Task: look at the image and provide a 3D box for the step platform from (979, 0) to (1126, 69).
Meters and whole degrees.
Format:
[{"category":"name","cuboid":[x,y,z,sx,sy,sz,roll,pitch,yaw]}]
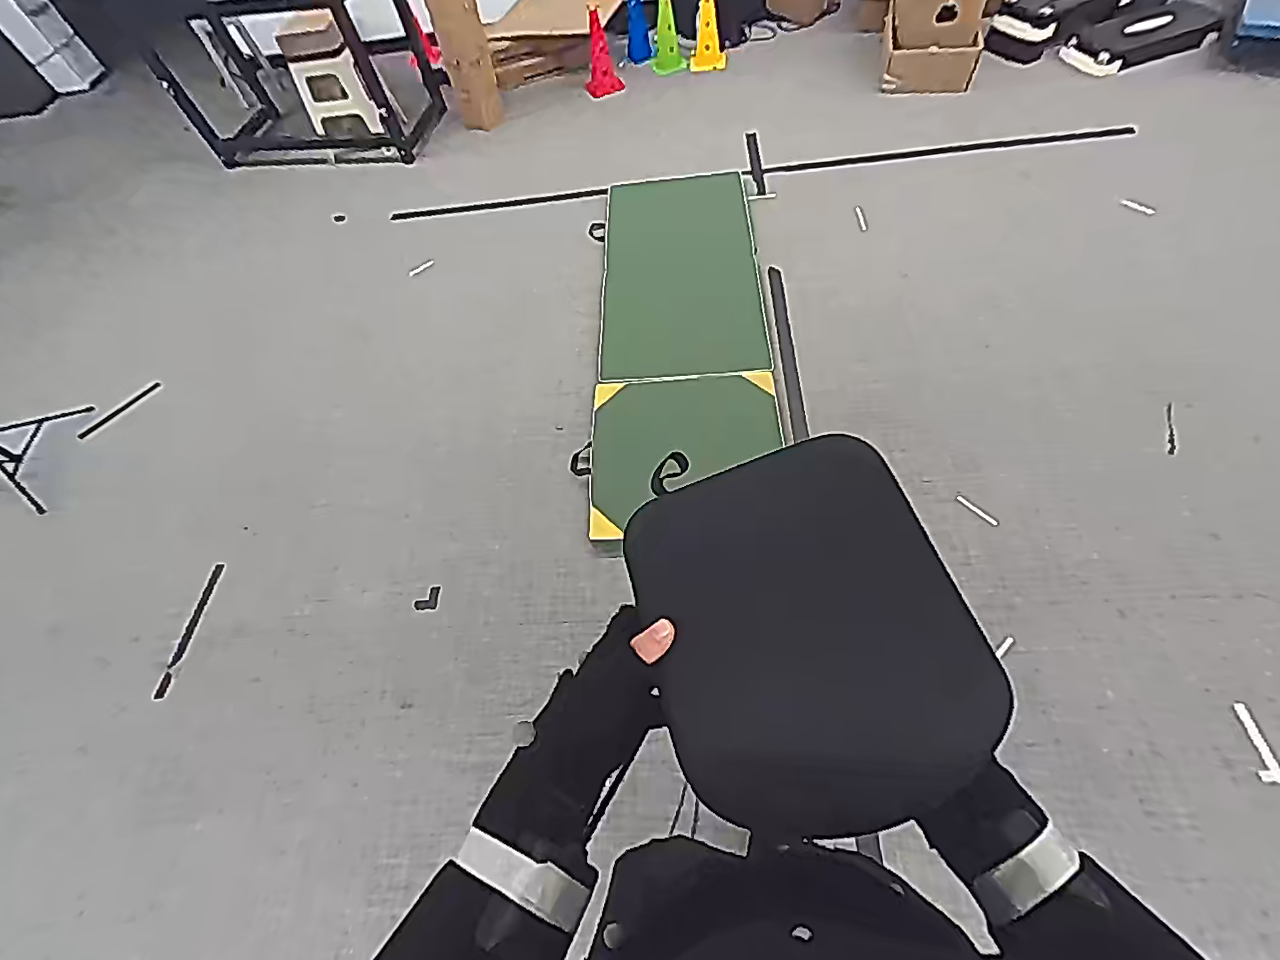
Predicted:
[{"category":"step platform","cuboid":[2.093,-2.331,2.728,0.684,0.204,0.286,-29,60,-9]}]
